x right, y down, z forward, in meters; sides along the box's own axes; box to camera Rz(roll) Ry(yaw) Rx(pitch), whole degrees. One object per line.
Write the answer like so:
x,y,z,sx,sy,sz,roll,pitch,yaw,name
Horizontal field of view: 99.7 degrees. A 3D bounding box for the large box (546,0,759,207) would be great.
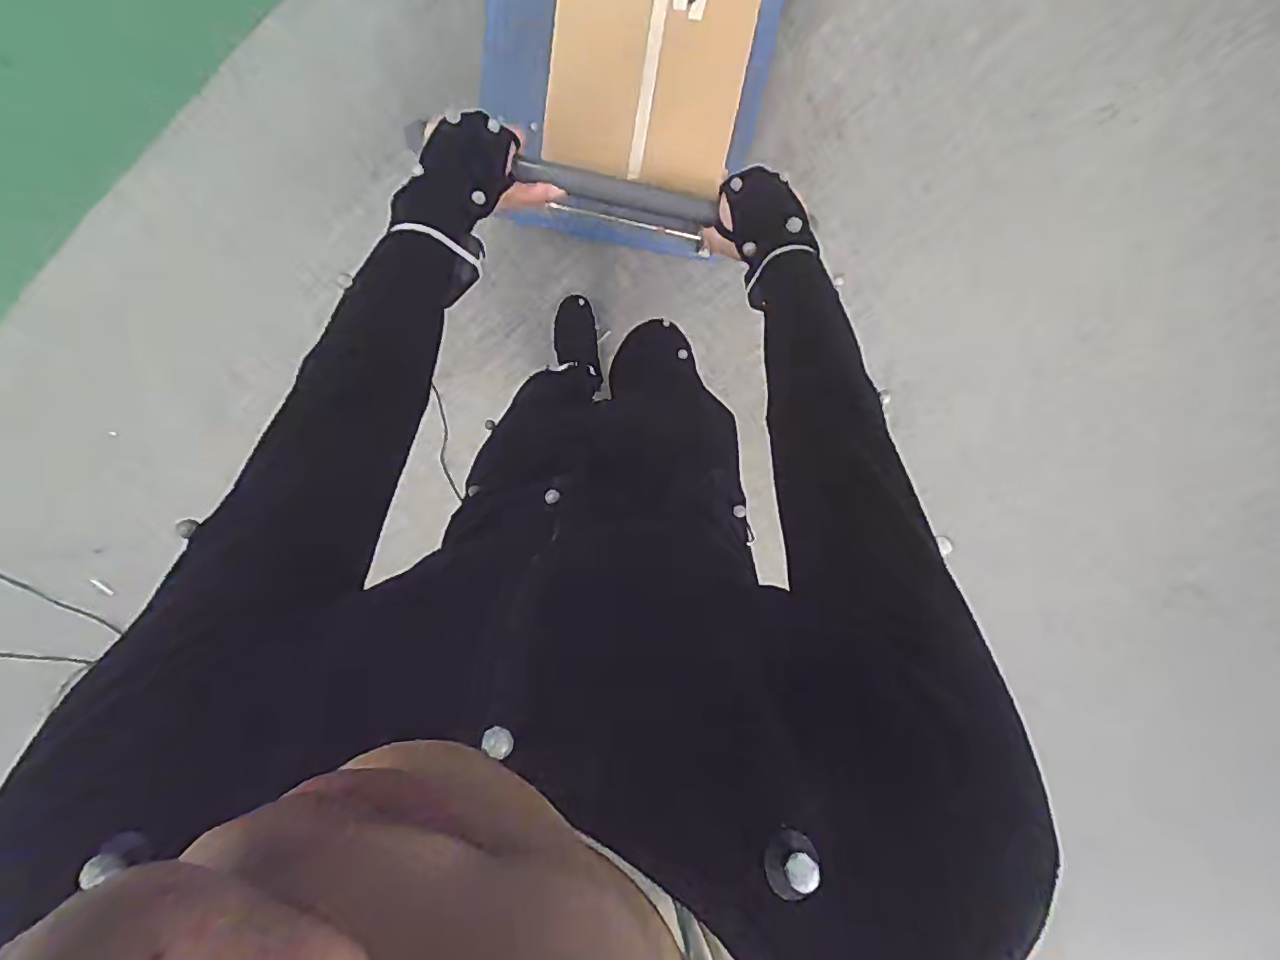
0.015,-0.766,1.010,0.320,0.320,0.408,9,112,-8,large box
